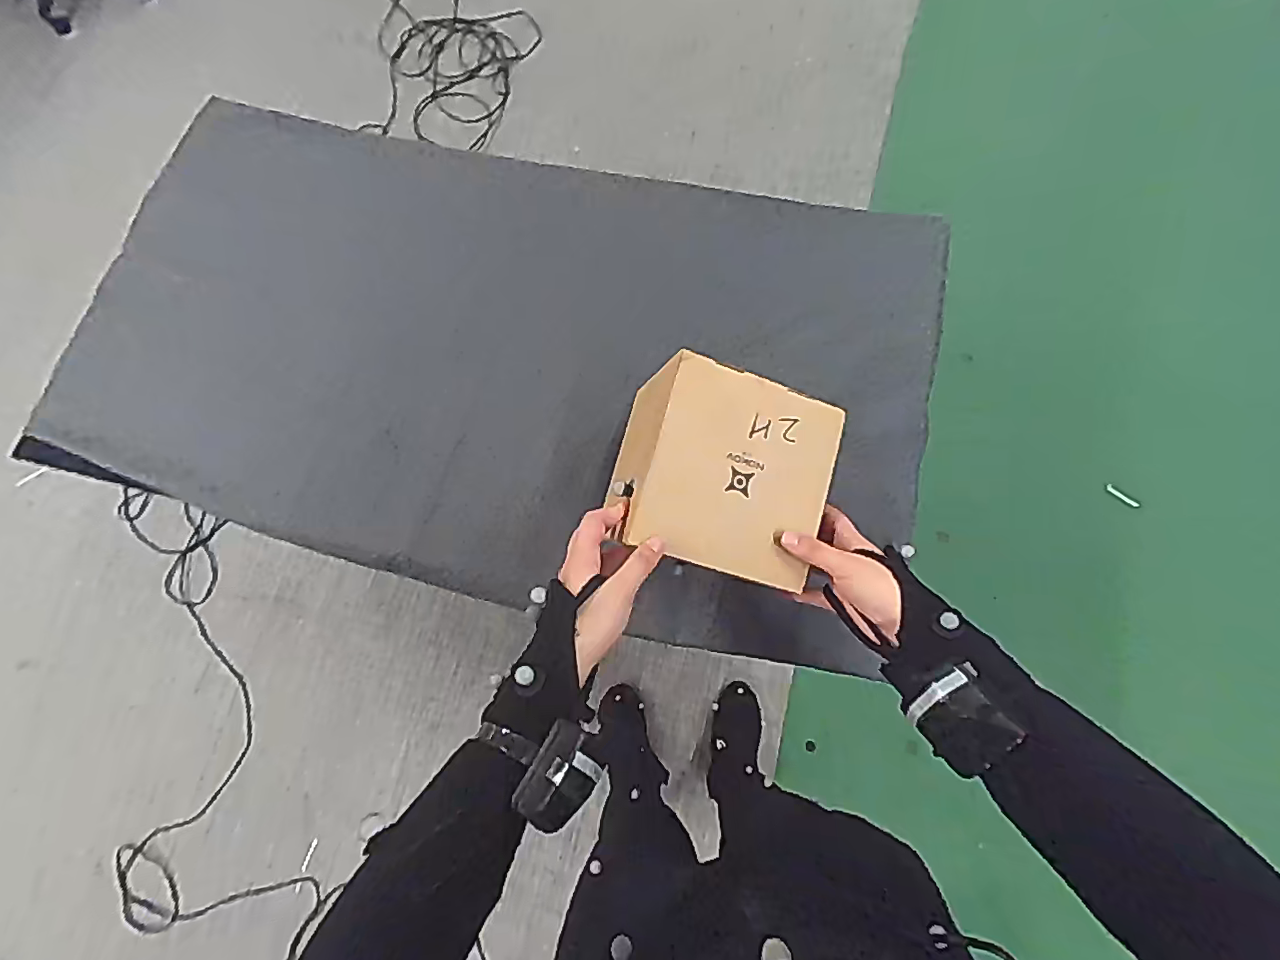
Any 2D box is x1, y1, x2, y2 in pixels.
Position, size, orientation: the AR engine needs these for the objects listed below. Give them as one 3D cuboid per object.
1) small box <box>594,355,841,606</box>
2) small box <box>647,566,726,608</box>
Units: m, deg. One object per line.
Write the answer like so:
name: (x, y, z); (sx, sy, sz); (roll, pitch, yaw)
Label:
small box: (0.061, 0.005, 0.533); (0.168, 0.176, 0.179); (18, 83, -14)
small box: (0.133, 0.195, 1.274); (0.179, 0.176, 0.168); (26, 79, 10)
